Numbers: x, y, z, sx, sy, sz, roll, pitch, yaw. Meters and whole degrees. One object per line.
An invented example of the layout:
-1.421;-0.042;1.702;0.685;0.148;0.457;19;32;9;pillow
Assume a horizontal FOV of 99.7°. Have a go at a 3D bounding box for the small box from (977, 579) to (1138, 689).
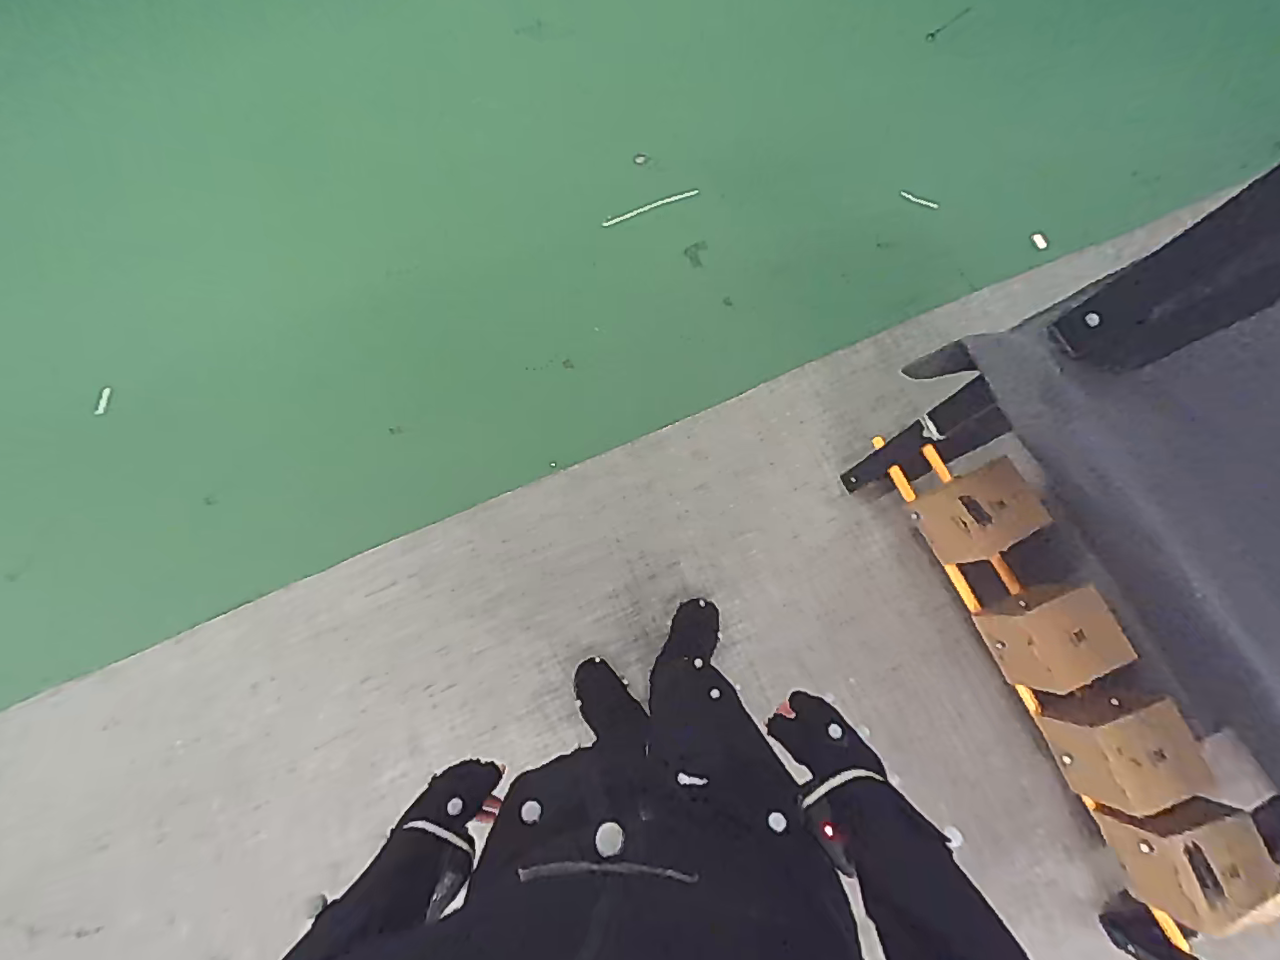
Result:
0.873;0.319;1.150;0.179;0.176;0.168;-23;78;-4;small box
